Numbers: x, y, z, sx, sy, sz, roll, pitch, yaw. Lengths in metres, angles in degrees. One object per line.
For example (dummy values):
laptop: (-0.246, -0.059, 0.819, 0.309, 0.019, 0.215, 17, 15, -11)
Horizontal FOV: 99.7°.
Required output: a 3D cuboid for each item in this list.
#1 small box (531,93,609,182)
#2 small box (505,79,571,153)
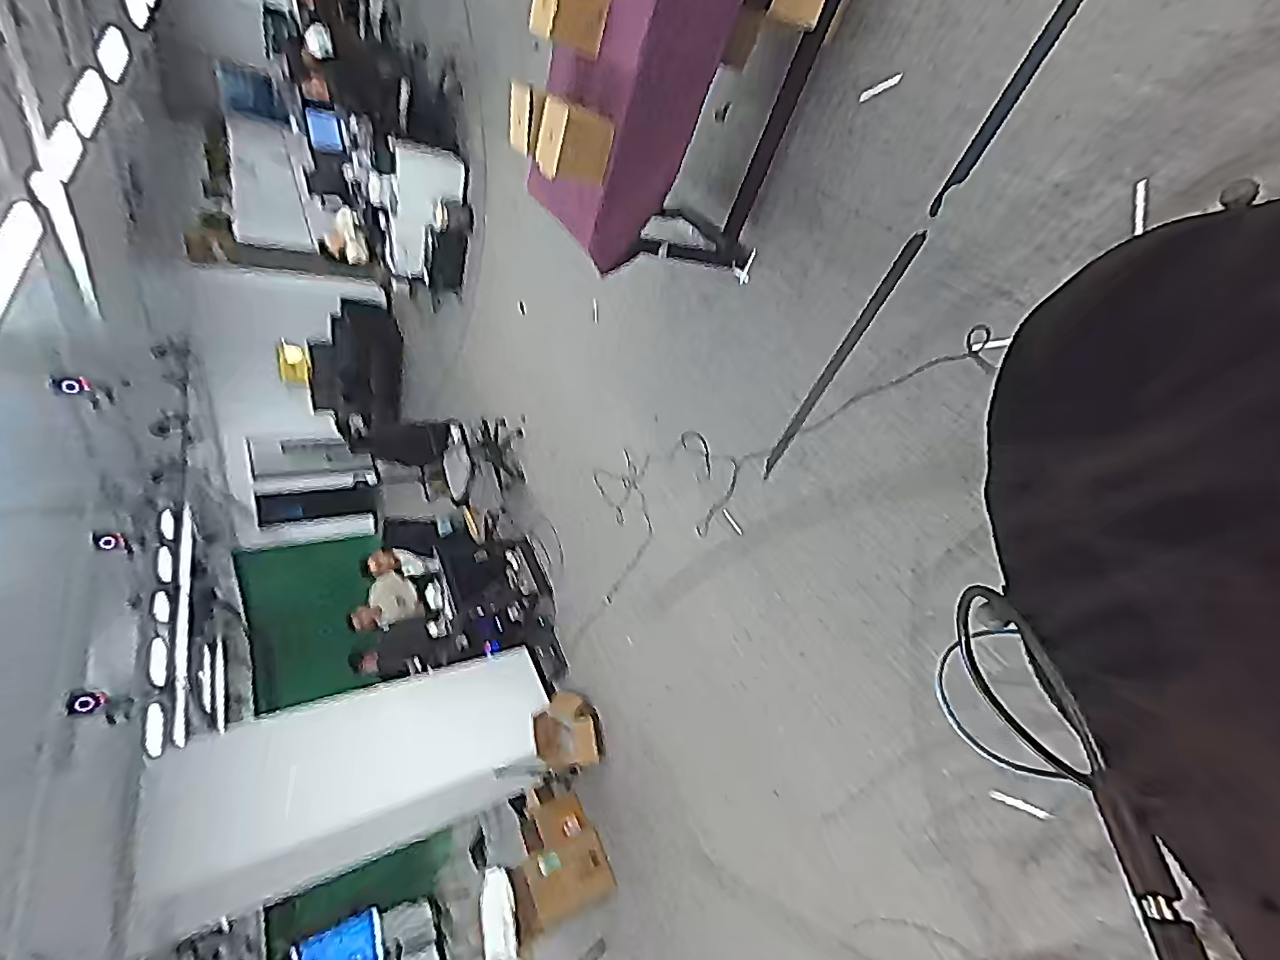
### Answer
small box: (-0.215, -1.047, 1.663, 0.168, 0.176, 0.179, 54, 136, 35)
small box: (-0.334, -1.198, 1.809, 0.168, 0.176, 0.179, 52, 135, 36)
